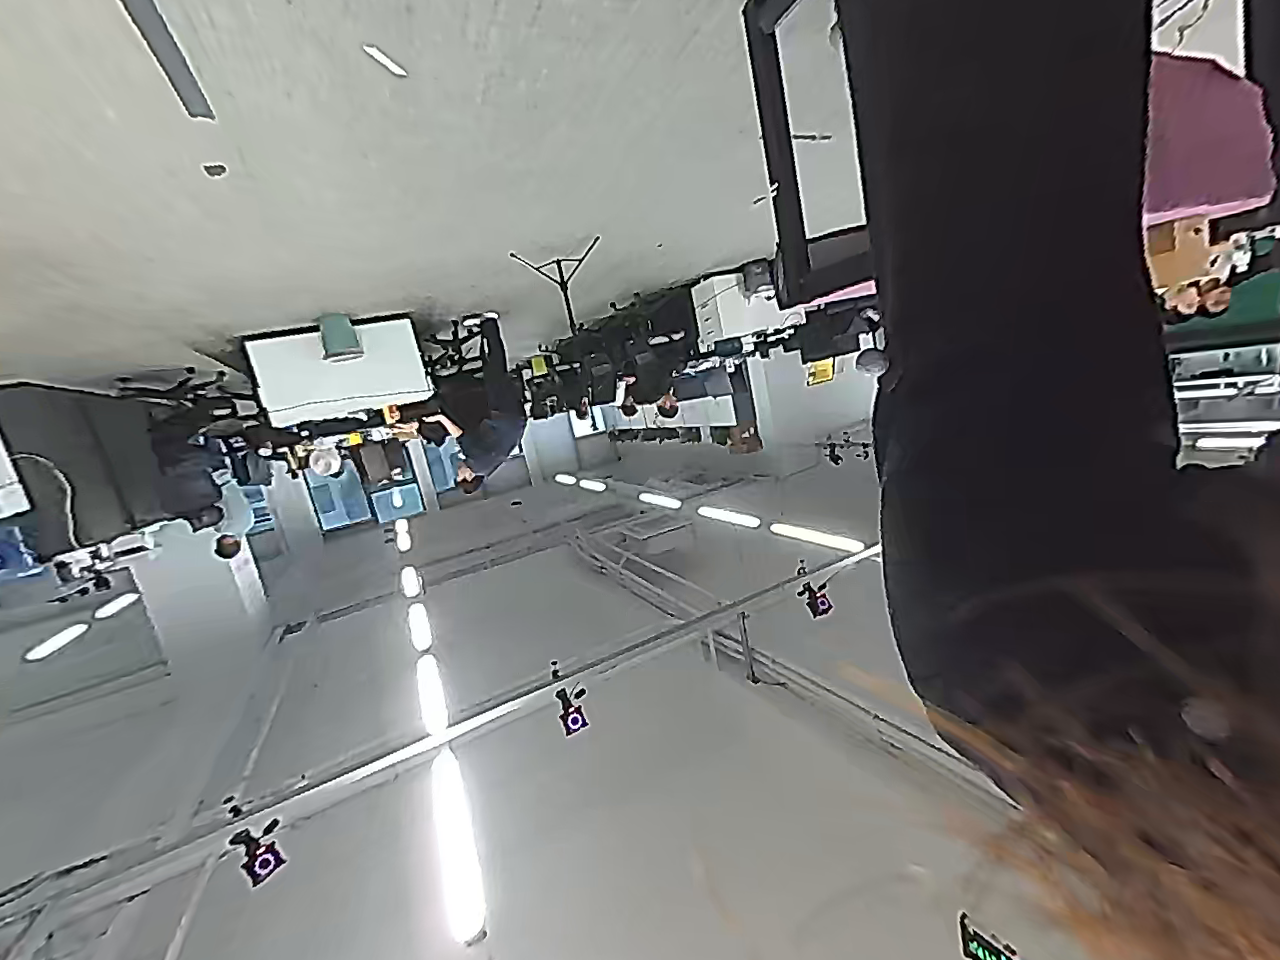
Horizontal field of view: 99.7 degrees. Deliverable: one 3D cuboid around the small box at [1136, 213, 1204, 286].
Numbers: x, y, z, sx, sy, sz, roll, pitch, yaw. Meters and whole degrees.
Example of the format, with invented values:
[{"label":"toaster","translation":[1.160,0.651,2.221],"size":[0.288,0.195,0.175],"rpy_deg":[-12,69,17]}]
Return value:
[{"label":"small box","translation":[1.460,-0.647,1.546],"size":[0.168,0.176,0.179],"rpy_deg":[-17,-169,-20]}]
